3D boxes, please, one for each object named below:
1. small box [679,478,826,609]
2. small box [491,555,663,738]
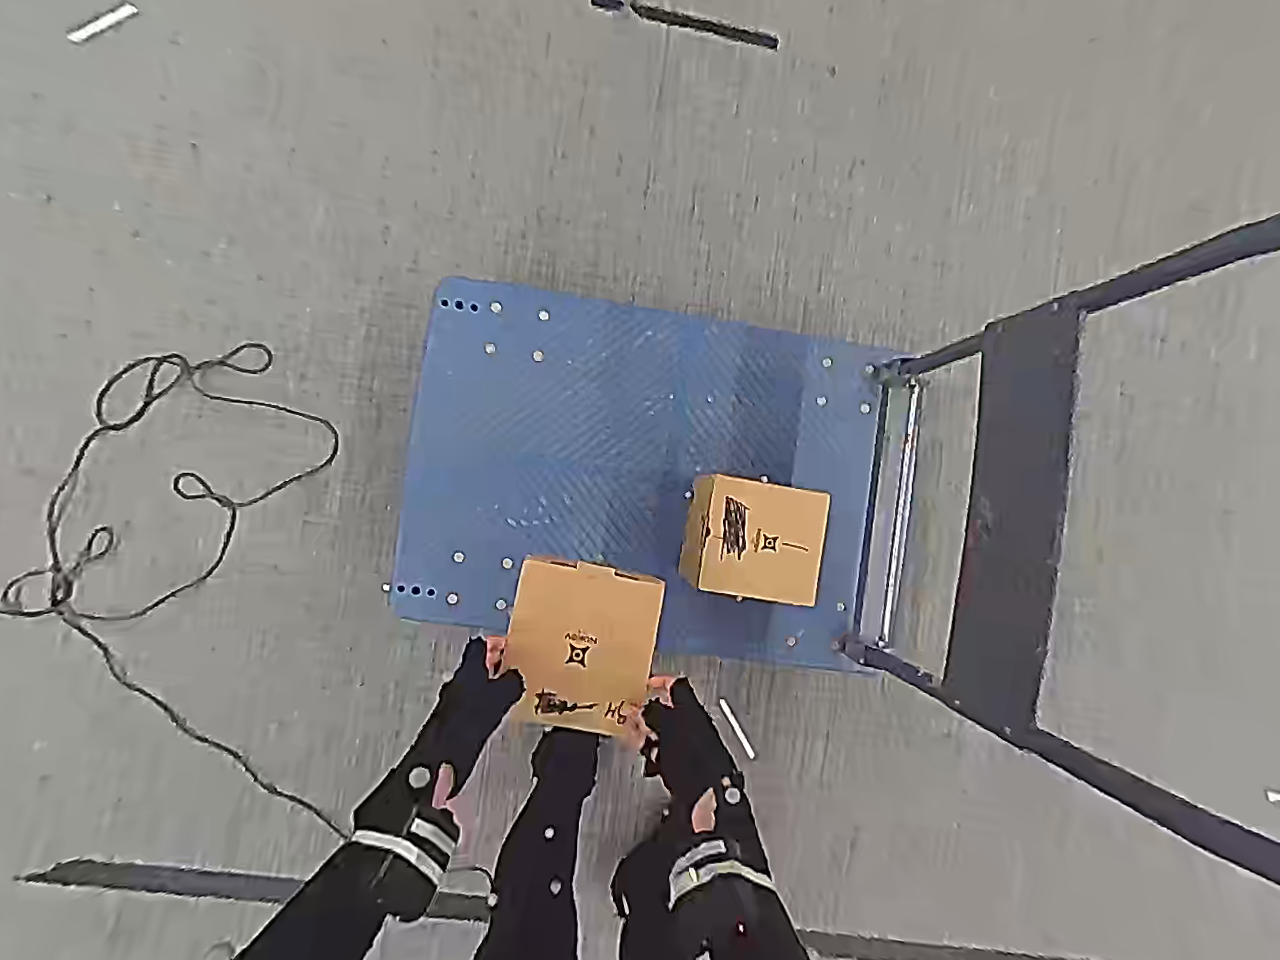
[{"bbox_3d":[0.165,0.096,0.852,0.179,0.176,0.168,10,87,-5],"label":"small box"},{"bbox_3d":[-0.075,0.199,0.689,0.168,0.176,0.179,12,81,-2],"label":"small box"}]
